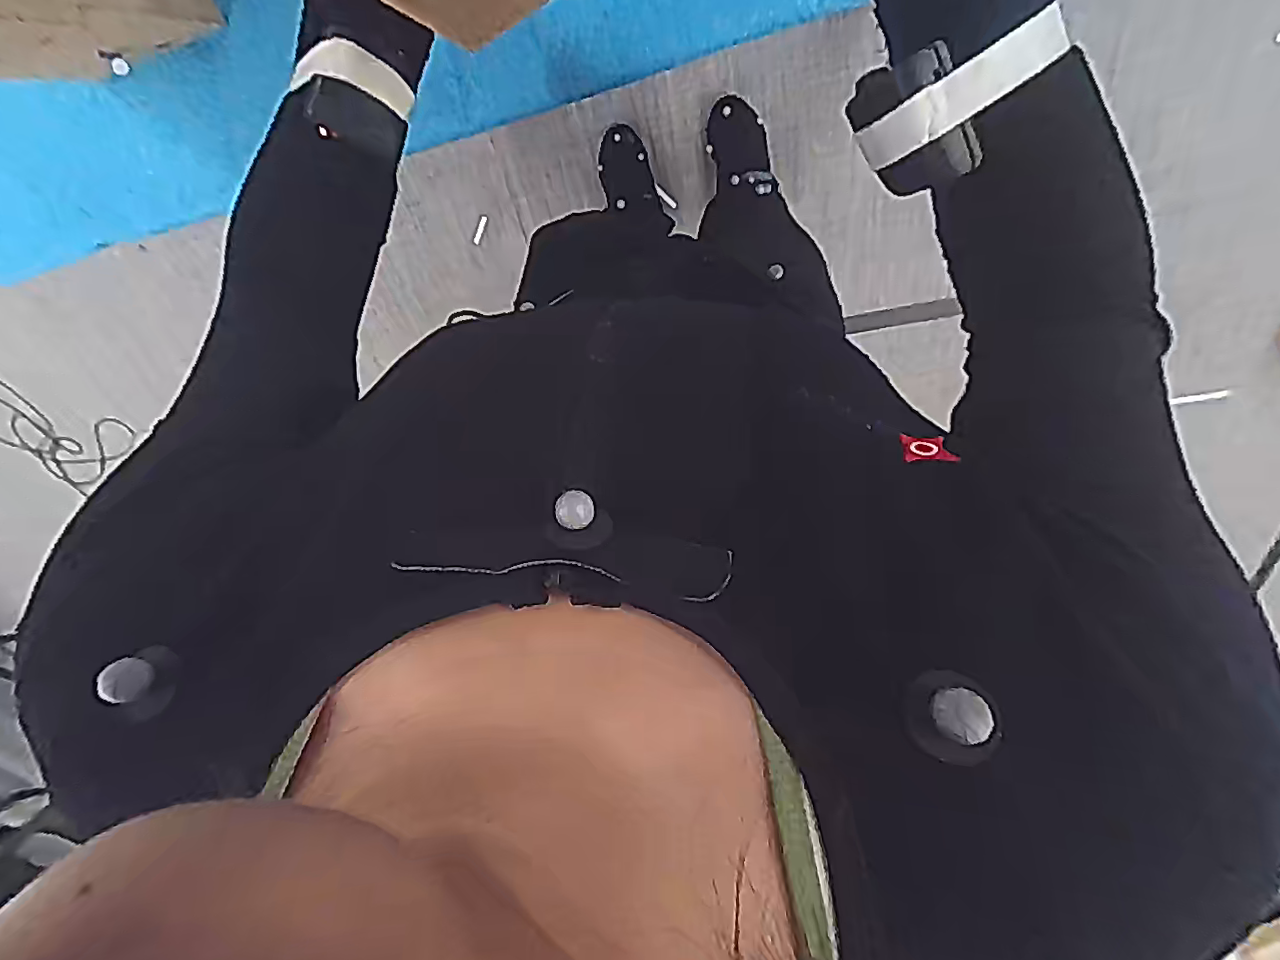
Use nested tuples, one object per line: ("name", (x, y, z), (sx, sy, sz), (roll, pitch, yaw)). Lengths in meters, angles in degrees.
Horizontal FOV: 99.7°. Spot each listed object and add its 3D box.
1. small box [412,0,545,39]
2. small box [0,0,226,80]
("small box", (-0.080, -0.358, 0.264), (0.179, 0.176, 0.168), (-21, 120, 14))
("small box", (-0.489, -0.430, 0.416), (0.168, 0.176, 0.179), (-7, 128, 11))
